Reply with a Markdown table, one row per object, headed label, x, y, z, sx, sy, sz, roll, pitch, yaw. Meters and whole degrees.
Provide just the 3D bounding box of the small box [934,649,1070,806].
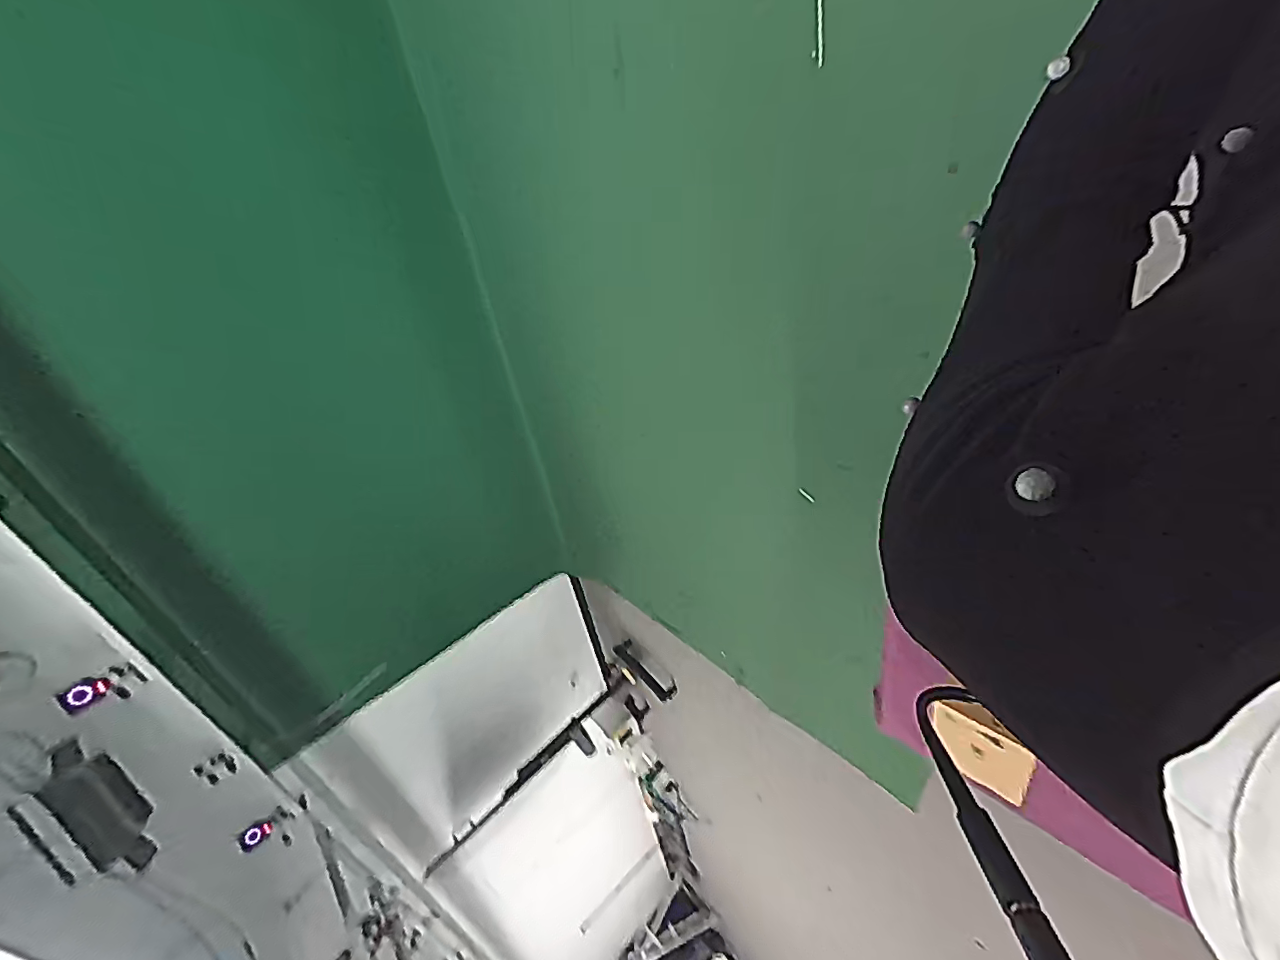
| label | x | y | z | sx | sy | sz | roll | pitch | yaw |
| --- | --- | --- | --- | --- | --- | --- | --- | --- | --- |
| small box | 0.693 | 0.468 | 1.041 | 0.168 | 0.176 | 0.179 | 22 | 137 | 44 |
